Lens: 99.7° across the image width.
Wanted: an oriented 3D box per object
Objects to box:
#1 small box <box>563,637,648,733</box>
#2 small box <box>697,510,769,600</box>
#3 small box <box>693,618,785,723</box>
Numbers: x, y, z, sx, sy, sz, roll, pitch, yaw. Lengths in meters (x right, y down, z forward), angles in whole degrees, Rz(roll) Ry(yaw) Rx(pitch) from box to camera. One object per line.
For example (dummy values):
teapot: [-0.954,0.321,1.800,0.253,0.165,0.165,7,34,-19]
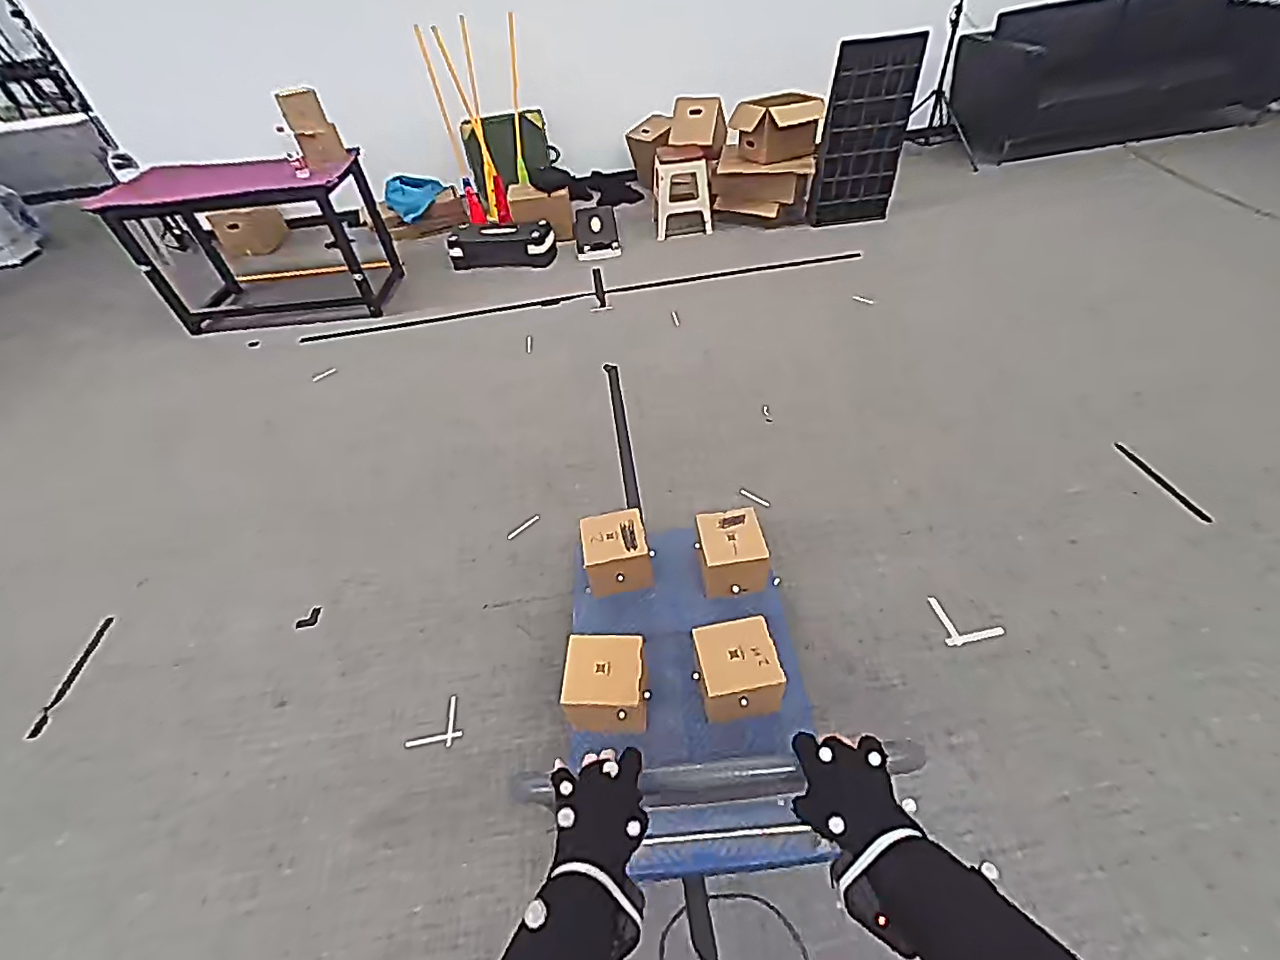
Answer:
small box: [-0.075,0.491,1.290,0.179,0.176,0.168,-1,46,4]
small box: [0.254,0.211,1.517,0.168,0.176,0.179,-9,47,-1]
small box: [0.229,0.456,1.285,0.179,0.176,0.168,-10,46,-2]
